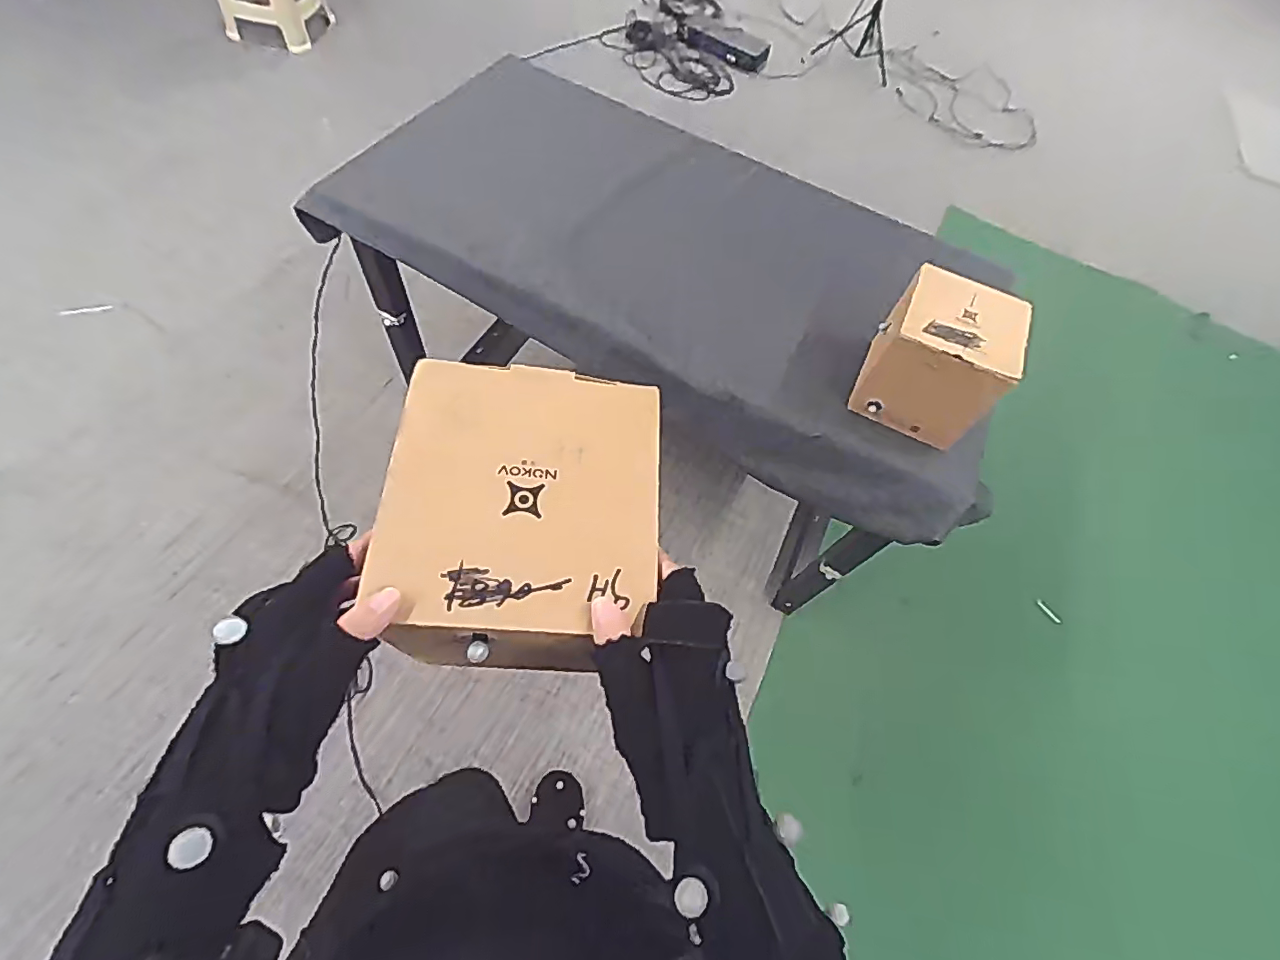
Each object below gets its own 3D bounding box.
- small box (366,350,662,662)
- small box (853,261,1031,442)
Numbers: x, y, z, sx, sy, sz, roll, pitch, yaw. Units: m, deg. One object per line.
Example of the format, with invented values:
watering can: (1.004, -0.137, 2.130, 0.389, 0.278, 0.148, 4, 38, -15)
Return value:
small box: (-0.080, 0.031, 0.412, 0.168, 0.176, 0.179, 6, 63, -7)
small box: (0.450, -0.189, 0.826, 0.168, 0.176, 0.179, 27, 60, 9)
